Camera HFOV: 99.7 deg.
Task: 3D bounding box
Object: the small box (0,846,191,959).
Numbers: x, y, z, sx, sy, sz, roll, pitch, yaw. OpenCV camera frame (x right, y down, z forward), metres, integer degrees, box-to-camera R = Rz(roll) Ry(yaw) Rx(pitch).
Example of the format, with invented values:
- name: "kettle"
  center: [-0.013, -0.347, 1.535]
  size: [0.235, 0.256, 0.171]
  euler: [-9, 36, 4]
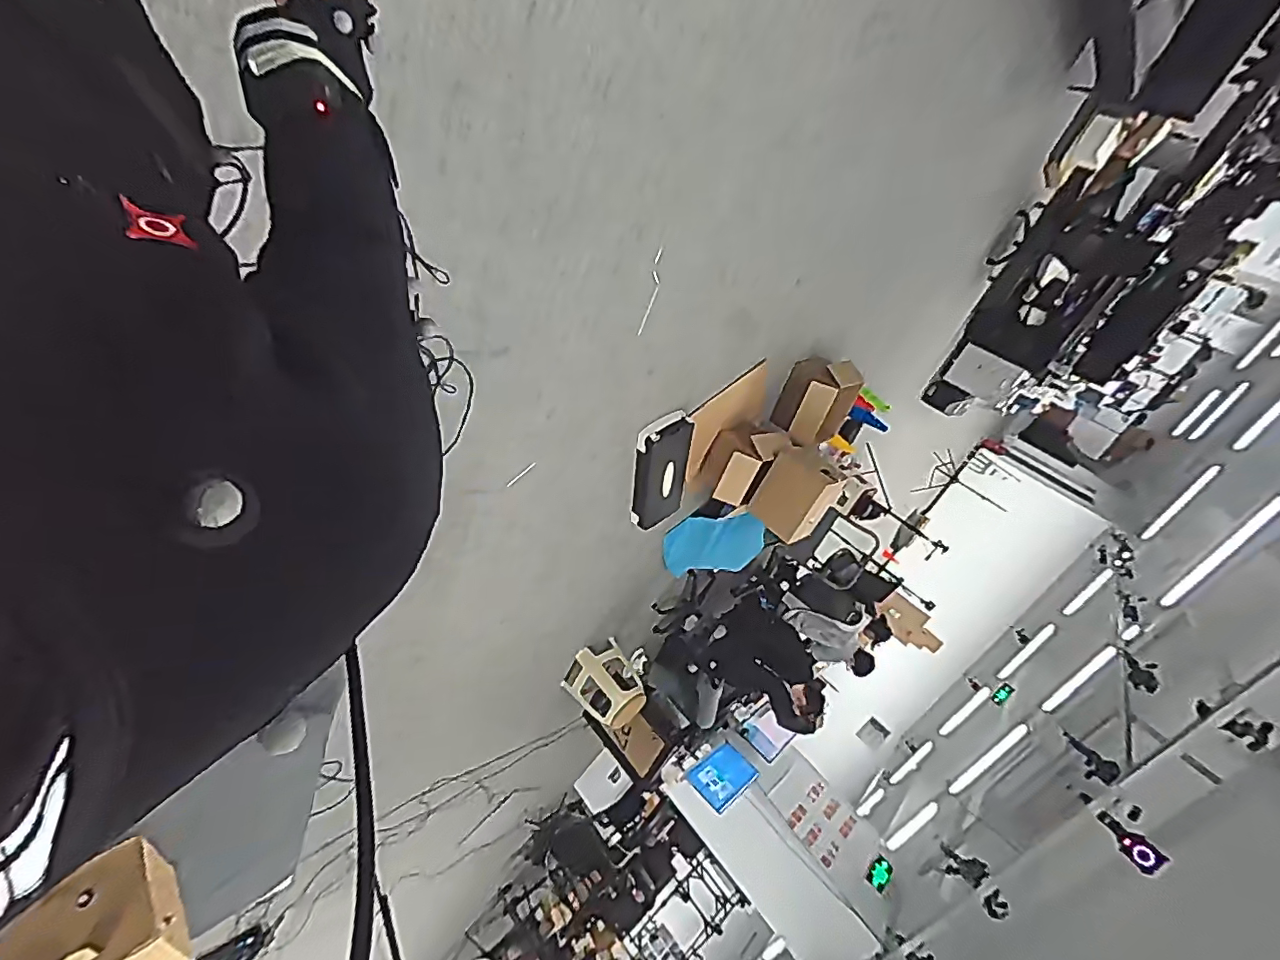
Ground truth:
- name: "small box"
  center: [-0.813, 0.701, 0.814]
  size: [0.168, 0.176, 0.179]
  euler: [-22, 140, -38]
